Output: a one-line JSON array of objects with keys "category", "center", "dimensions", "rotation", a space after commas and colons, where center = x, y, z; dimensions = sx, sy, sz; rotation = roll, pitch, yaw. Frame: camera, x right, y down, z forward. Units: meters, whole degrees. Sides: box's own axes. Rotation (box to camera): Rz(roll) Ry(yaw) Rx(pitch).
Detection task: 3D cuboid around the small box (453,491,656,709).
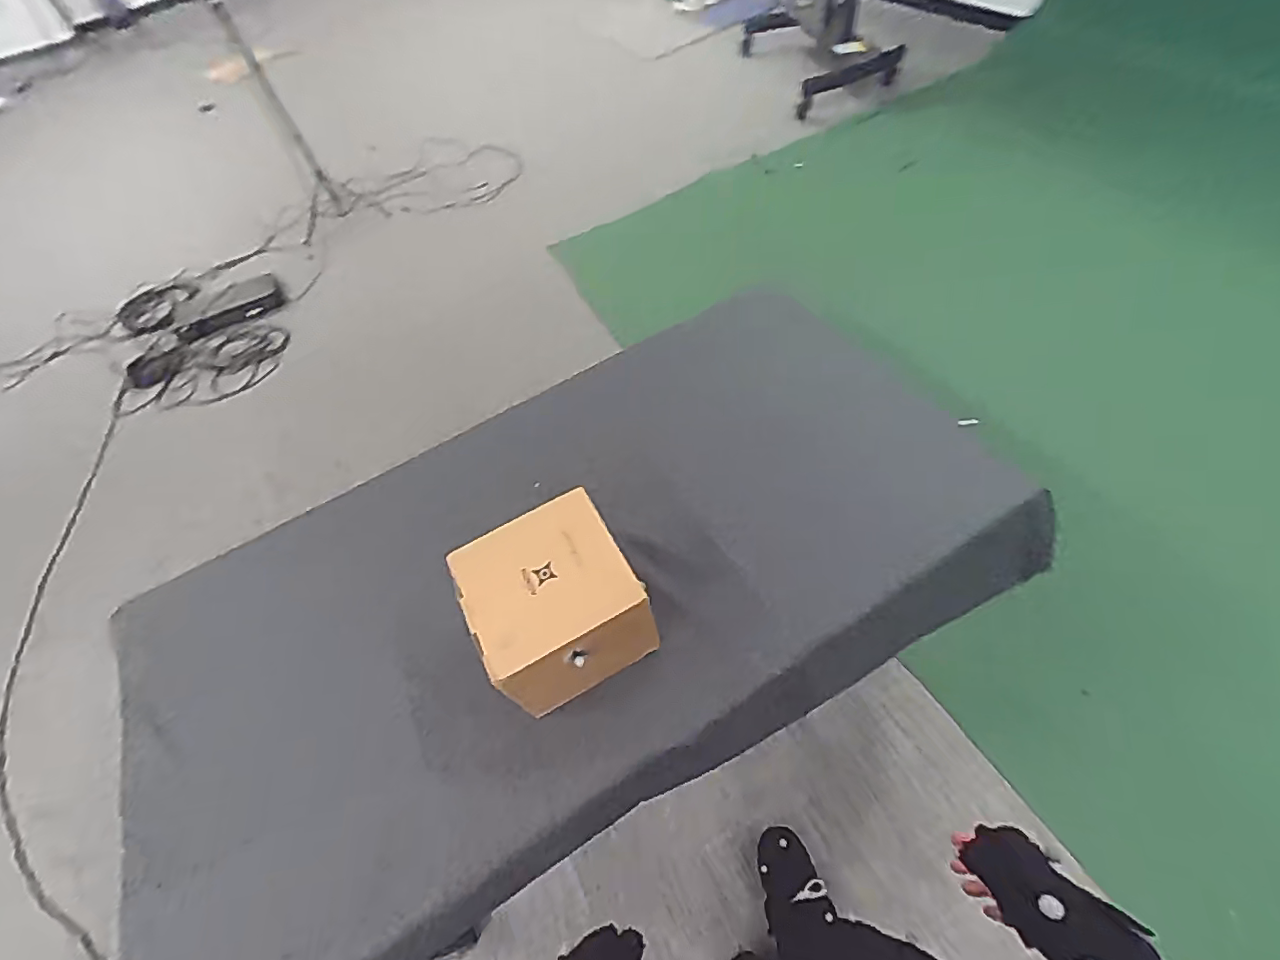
[{"category": "small box", "center": [-0.096, 0.152, 0.663], "dimensions": [0.179, 0.176, 0.168], "rotation": [-28, 57, -12]}]
